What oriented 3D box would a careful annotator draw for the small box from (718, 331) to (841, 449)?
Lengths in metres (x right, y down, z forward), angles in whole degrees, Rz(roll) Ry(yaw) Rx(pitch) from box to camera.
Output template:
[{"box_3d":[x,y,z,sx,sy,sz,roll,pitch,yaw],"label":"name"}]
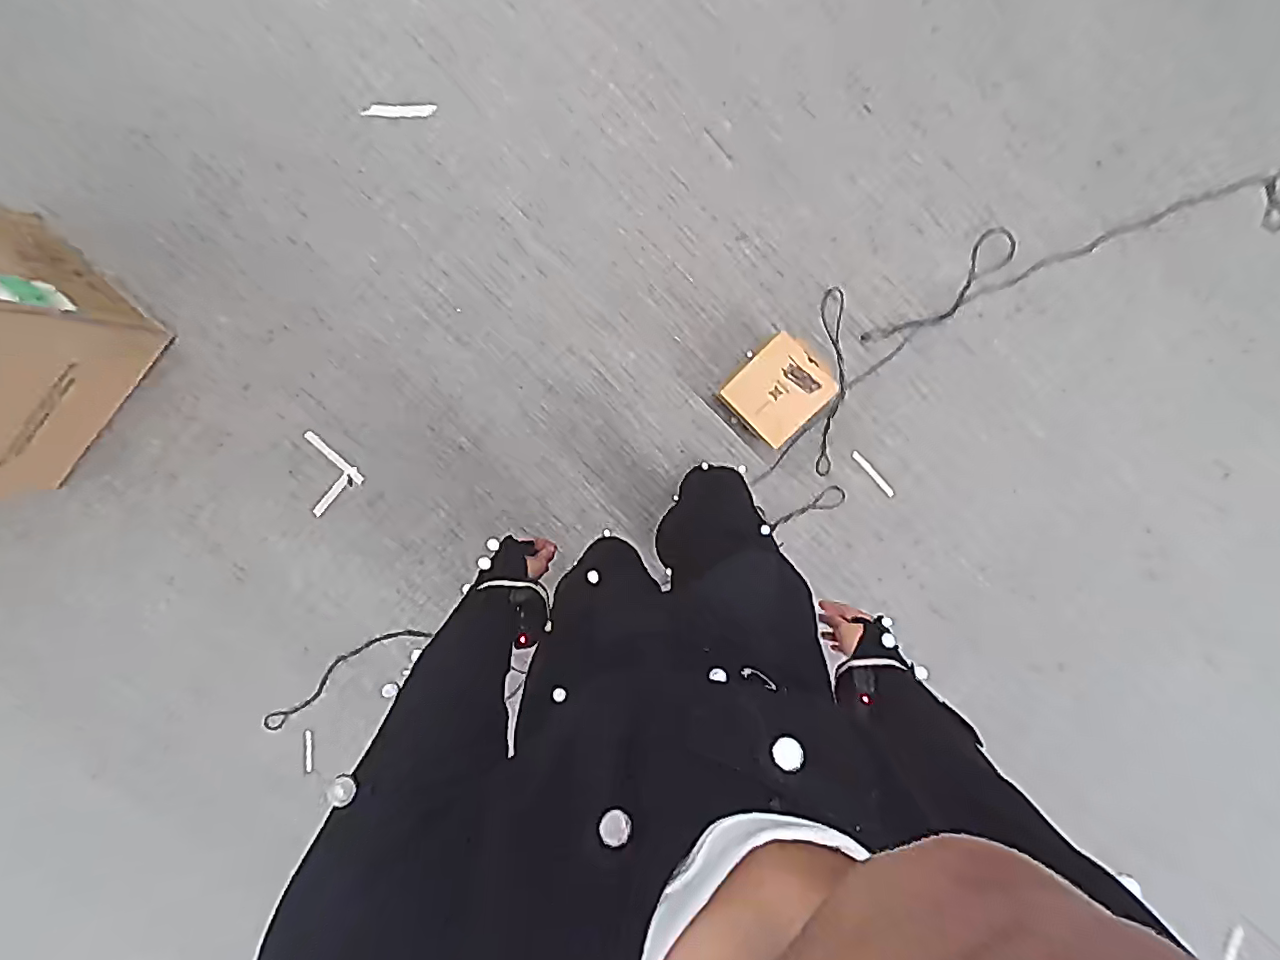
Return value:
[{"box_3d":[0.284,-0.190,1.148,0.179,0.176,0.168,-44,95,9],"label":"small box"}]
